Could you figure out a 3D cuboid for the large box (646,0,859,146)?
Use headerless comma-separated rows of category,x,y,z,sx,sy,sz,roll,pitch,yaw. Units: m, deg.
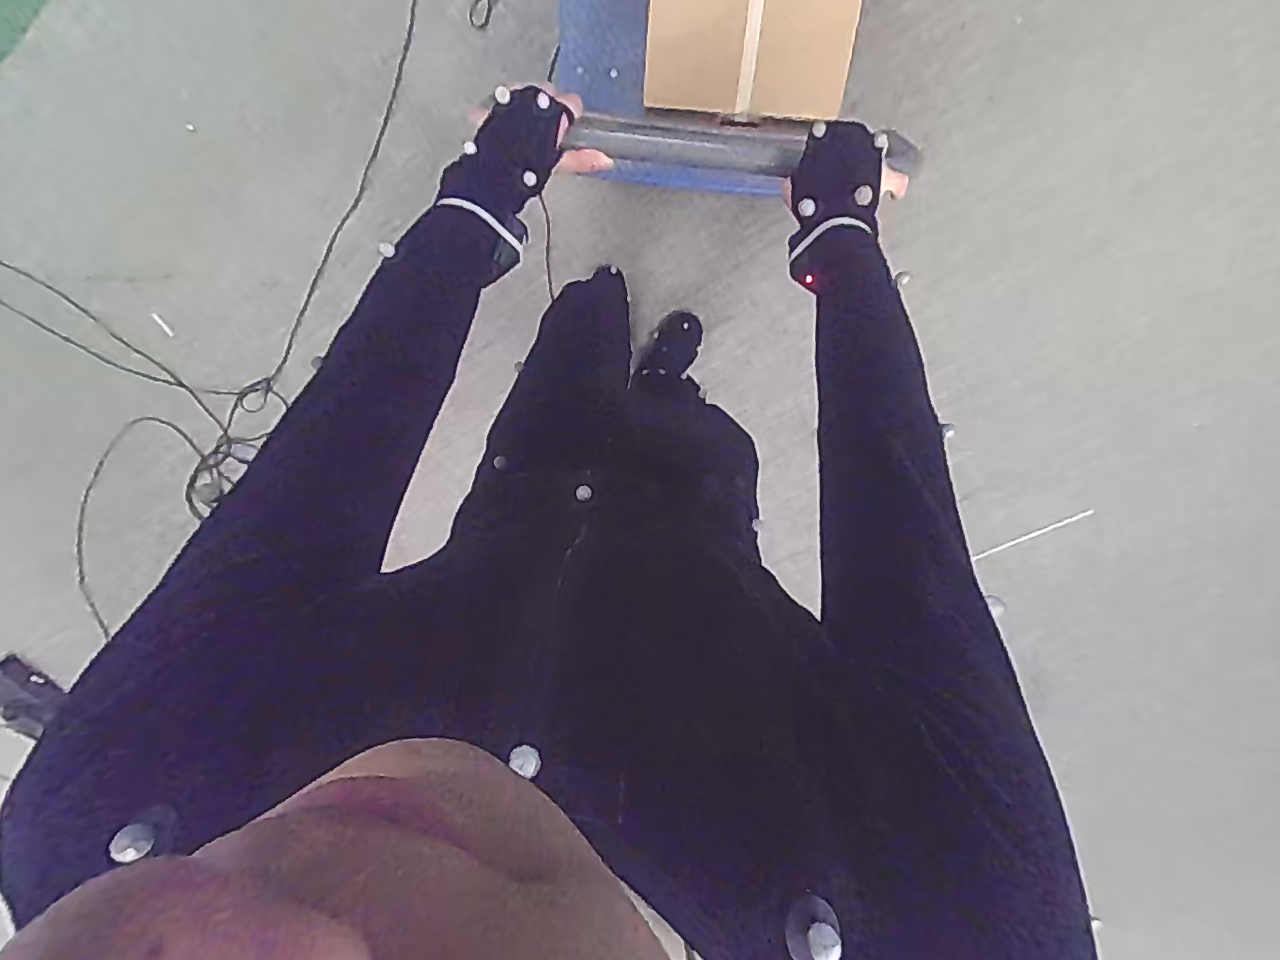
large box,0.188,-0.831,0.928,0.320,0.320,0.408,6,116,1
